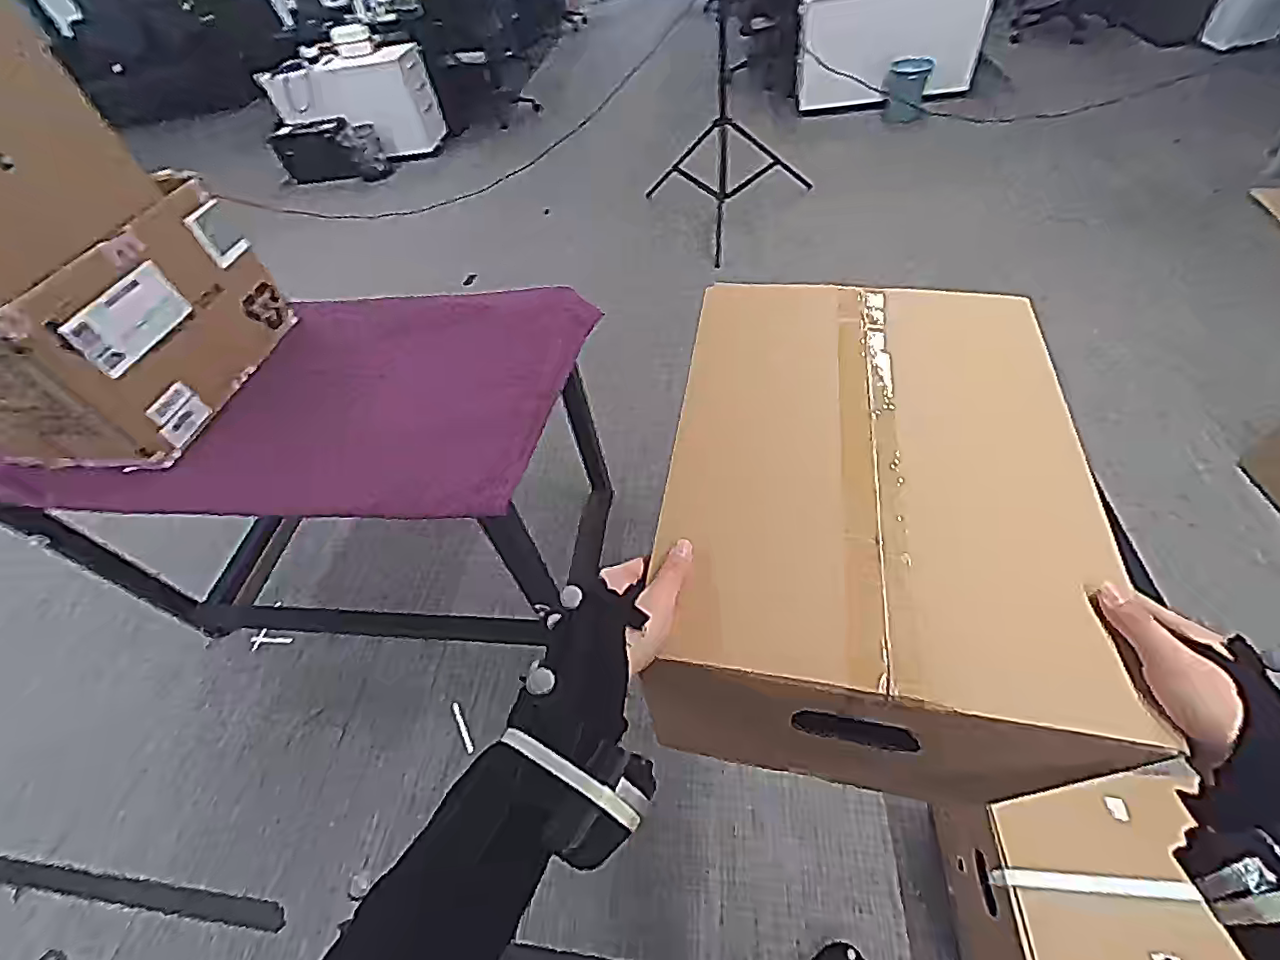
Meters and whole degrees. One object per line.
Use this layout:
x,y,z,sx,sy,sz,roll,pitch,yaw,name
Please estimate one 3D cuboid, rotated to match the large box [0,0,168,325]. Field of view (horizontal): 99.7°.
-1.089,-0.477,0.836,0.320,0.320,0.408,-1,51,11,large box
